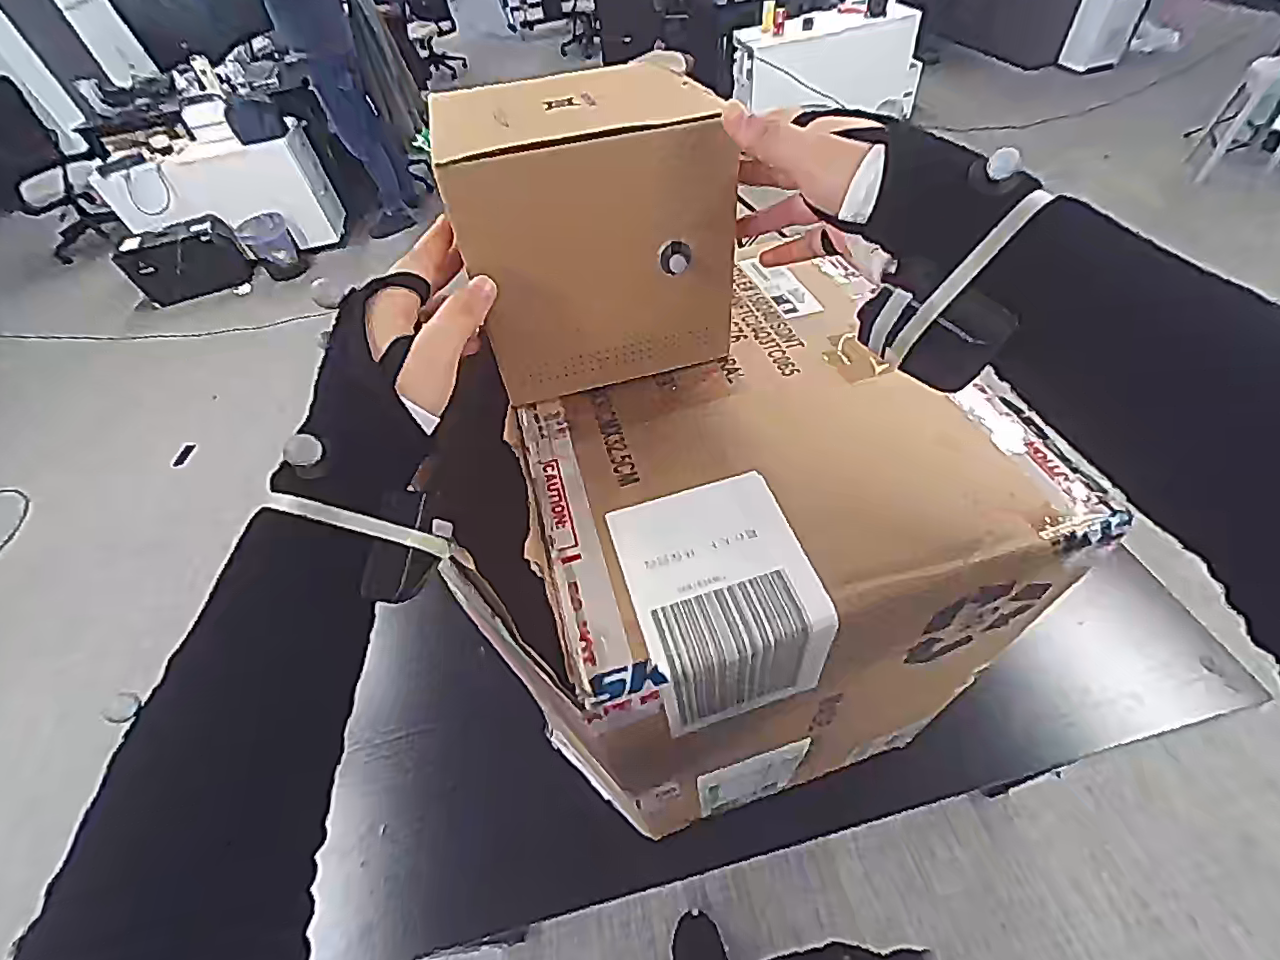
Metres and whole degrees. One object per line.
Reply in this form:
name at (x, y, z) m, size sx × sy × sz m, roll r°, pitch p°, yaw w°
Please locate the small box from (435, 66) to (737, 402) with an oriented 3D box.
small box at (-0.040, -0.186, 0.414) m, size 0.179 × 0.176 × 0.168 m, roll -16°, pitch 47°, yaw -7°
